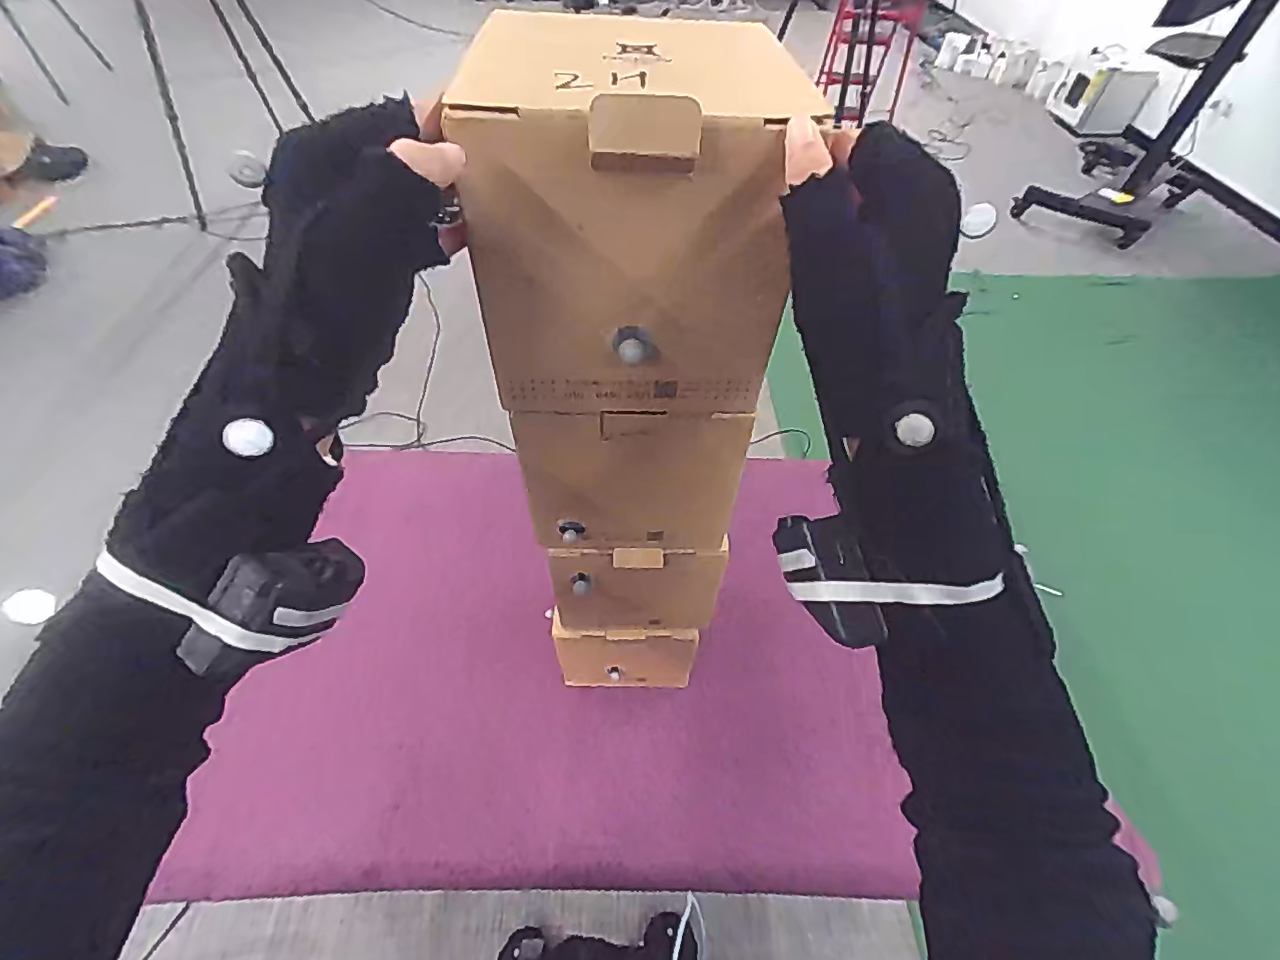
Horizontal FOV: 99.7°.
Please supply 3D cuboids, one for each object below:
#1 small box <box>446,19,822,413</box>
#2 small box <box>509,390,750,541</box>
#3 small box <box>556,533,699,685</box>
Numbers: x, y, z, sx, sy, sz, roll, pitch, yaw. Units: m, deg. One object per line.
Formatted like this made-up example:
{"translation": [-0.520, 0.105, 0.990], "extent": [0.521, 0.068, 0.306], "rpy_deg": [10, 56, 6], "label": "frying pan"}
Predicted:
{"translation": [-0.006, -0.164, 0.345], "extent": [0.168, 0.176, 0.179], "rpy_deg": [0, 51, -2], "label": "small box"}
{"translation": [-0.008, -0.060, 0.473], "extent": [0.168, 0.176, 0.179], "rpy_deg": [1, 50, -2], "label": "small box"}
{"translation": [-0.016, 0.157, 0.723], "extent": [0.168, 0.176, 0.179], "rpy_deg": [1, 52, -1], "label": "small box"}
